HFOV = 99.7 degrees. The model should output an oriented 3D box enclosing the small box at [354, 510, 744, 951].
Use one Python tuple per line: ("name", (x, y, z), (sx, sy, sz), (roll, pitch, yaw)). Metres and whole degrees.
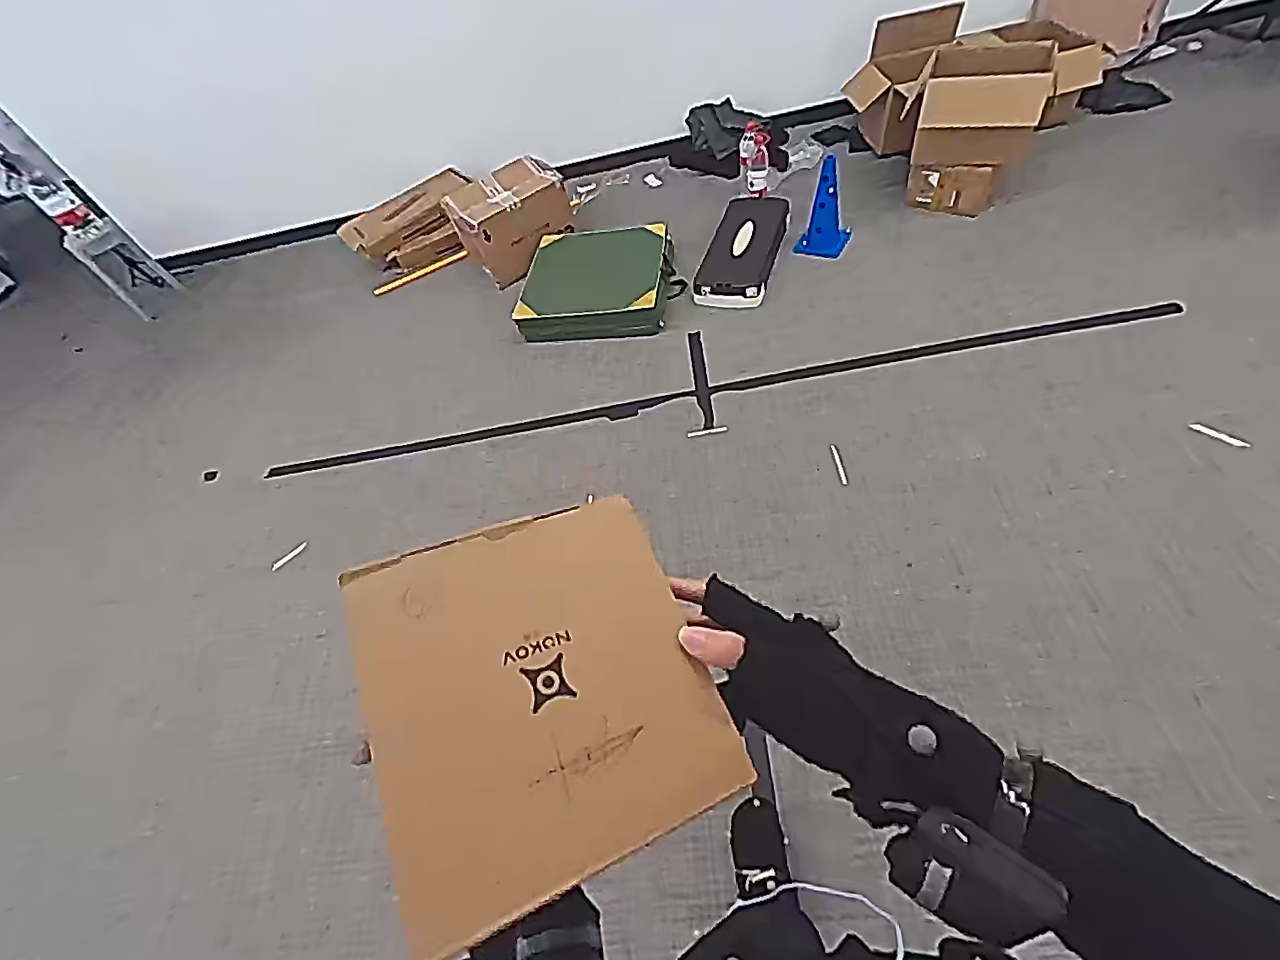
("small box", (-0.068, 0.149, 0.353), (0.168, 0.176, 0.179), (-16, 64, -23))
